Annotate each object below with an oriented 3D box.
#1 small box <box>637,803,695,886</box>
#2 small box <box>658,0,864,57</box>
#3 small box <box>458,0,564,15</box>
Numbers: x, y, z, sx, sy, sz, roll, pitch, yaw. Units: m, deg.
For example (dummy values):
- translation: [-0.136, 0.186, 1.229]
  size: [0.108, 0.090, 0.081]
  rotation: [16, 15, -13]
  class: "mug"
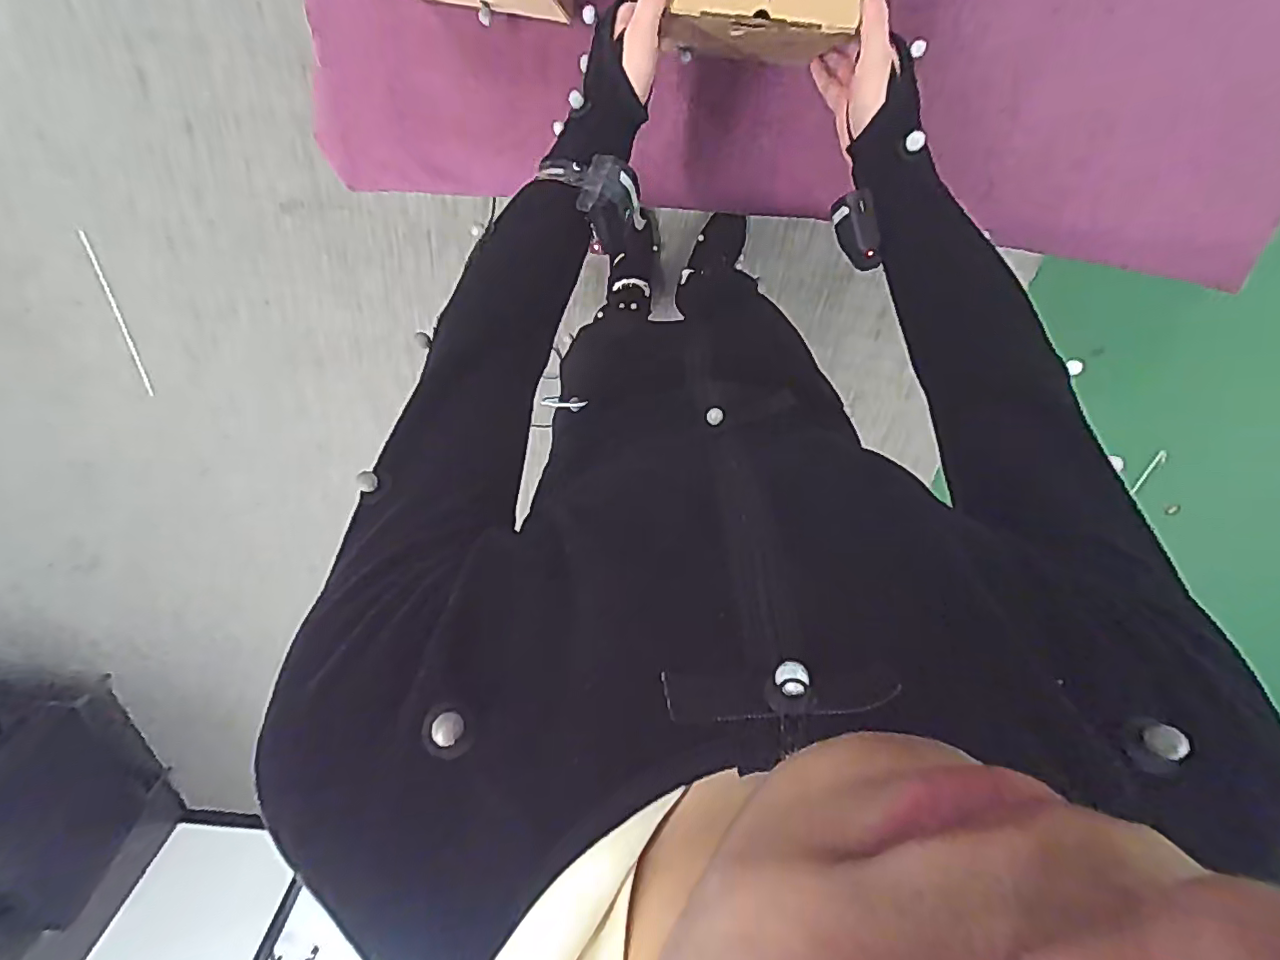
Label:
- translation: [0.086, 1.214, 1.802]
  size: [0.168, 0.176, 0.179]
  rotation: [8, 123, -3]
  class: "small box"
- translation: [0.106, -0.493, 0.469]
  size: [0.168, 0.176, 0.179]
  rotation: [3, 119, -4]
  class: "small box"
- translation: [-0.153, -0.545, 0.485]
  size: [0.179, 0.176, 0.168]
  rotation: [6, 123, -4]
  class: "small box"
